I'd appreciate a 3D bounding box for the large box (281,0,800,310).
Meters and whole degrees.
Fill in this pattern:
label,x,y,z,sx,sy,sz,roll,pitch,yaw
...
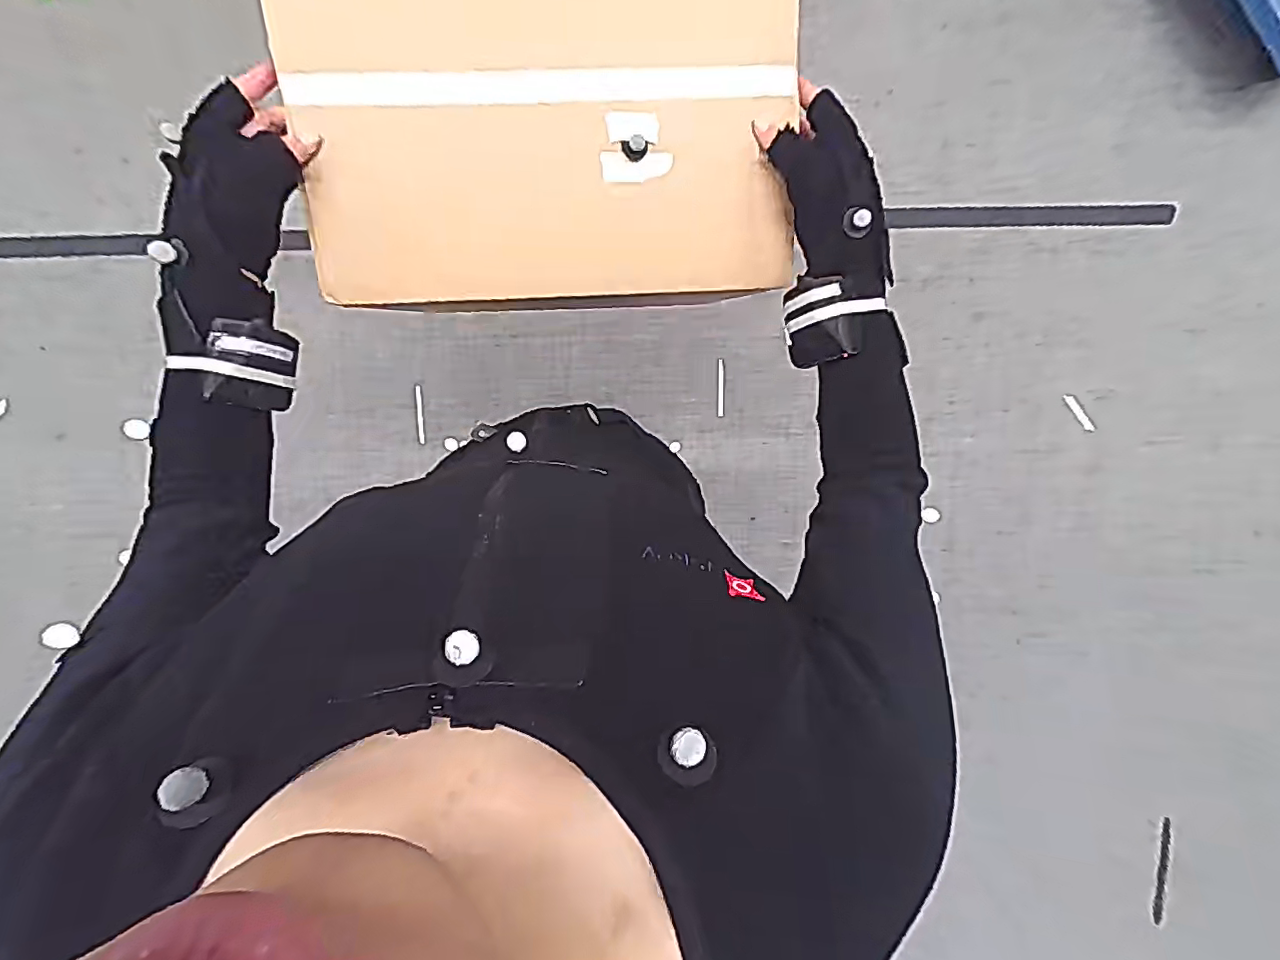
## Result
label,x,y,z,sx,sy,sz,roll,pitch,yaw
large box,-0.084,-0.357,0.572,0.408,0.320,0.320,-4,107,-5
